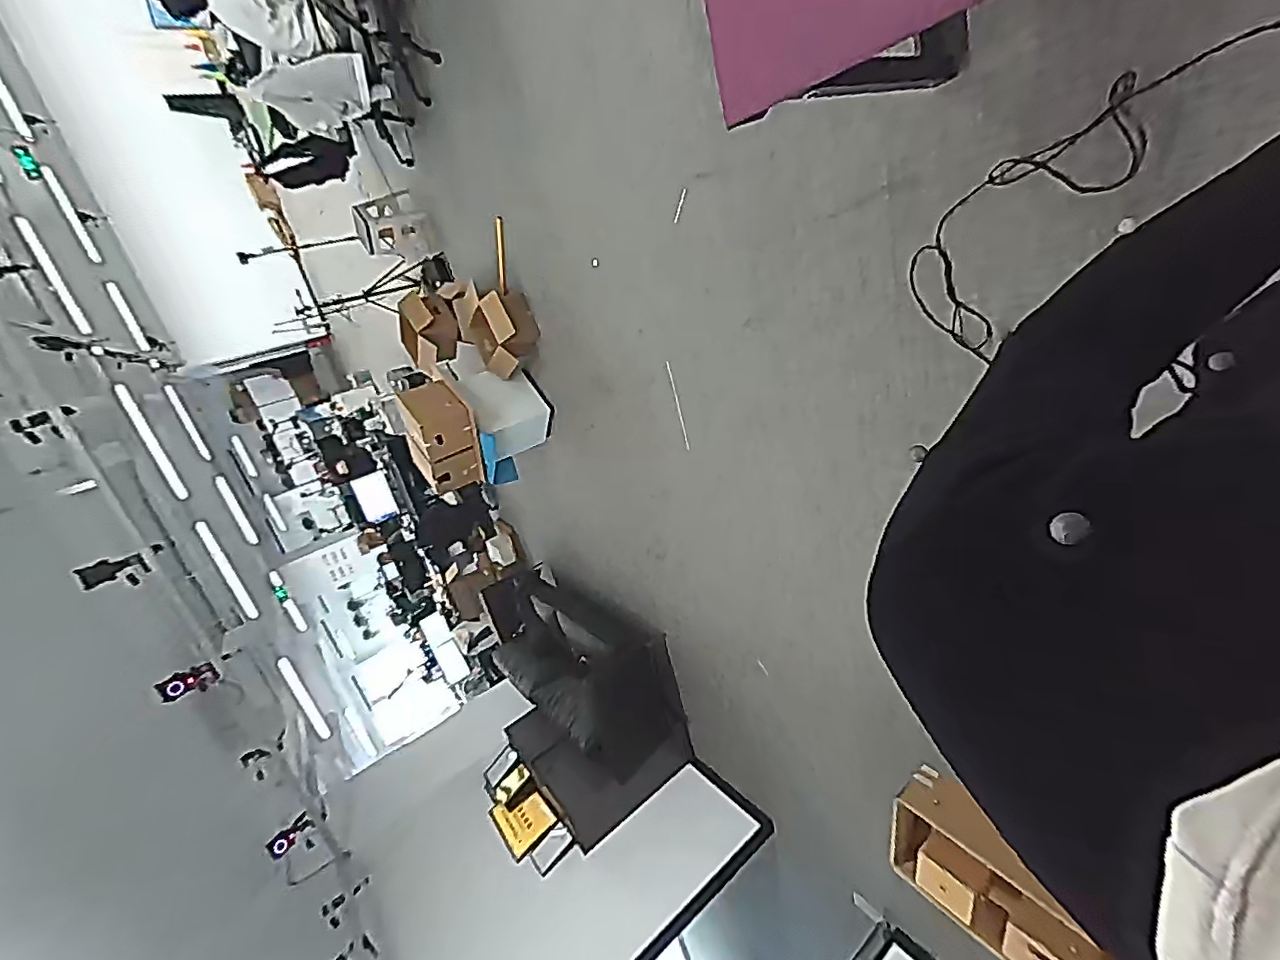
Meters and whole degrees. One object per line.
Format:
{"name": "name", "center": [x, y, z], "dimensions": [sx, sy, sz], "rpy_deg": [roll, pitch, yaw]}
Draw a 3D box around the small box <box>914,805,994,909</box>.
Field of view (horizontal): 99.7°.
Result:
{"name": "small box", "center": [0.999, 1.194, 1.722], "dimensions": [0.168, 0.176, 0.179], "rpy_deg": [22, 131, 48]}
